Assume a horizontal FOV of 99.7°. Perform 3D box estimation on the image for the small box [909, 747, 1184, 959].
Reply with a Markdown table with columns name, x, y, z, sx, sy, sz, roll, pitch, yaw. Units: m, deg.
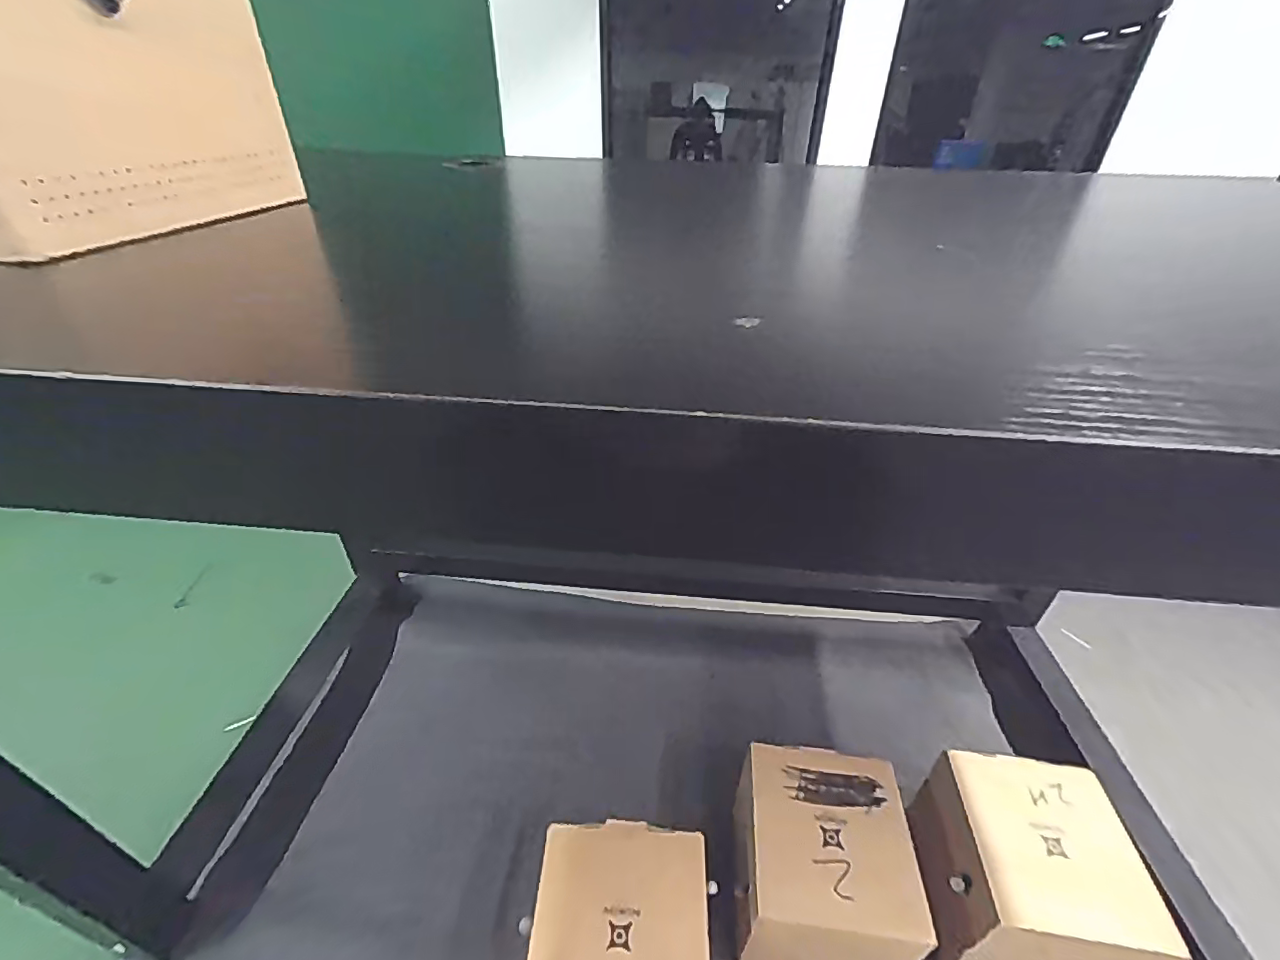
| name | x | y | z | sx | sy | sz | roll | pitch | yaw |
| --- | --- | --- | --- | --- | --- | --- | --- | --- | --- |
| small box | 0.432 | 0.443 | 0.616 | 0.168 | 0.176 | 0.179 | 6 | 34 | 7 |
